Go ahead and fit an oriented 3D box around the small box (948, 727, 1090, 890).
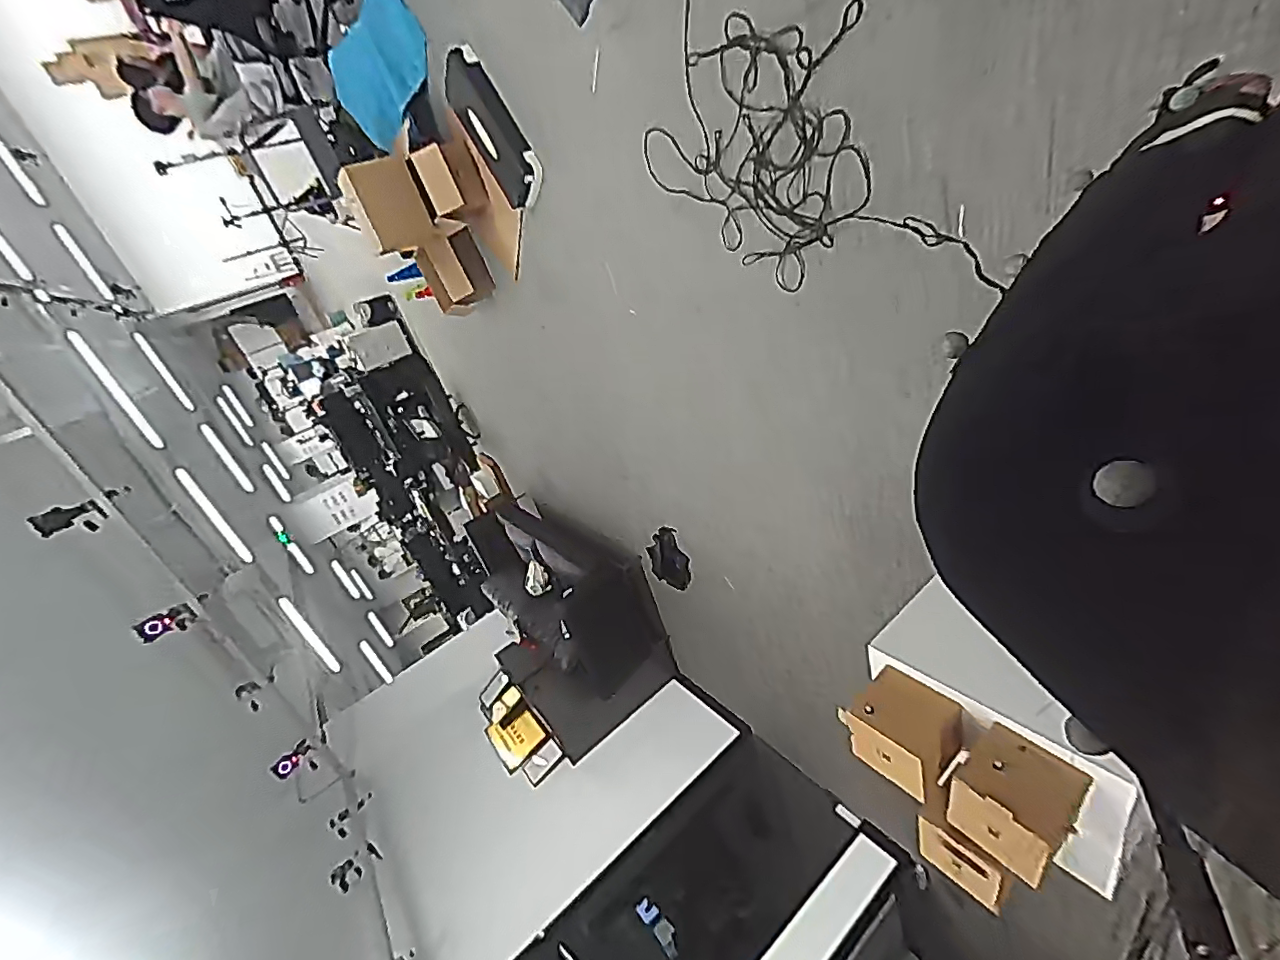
[{"bbox_3d":[0.722,0.619,1.037,0.168,0.176,0.179,28,144,50],"label":"small box"}]
